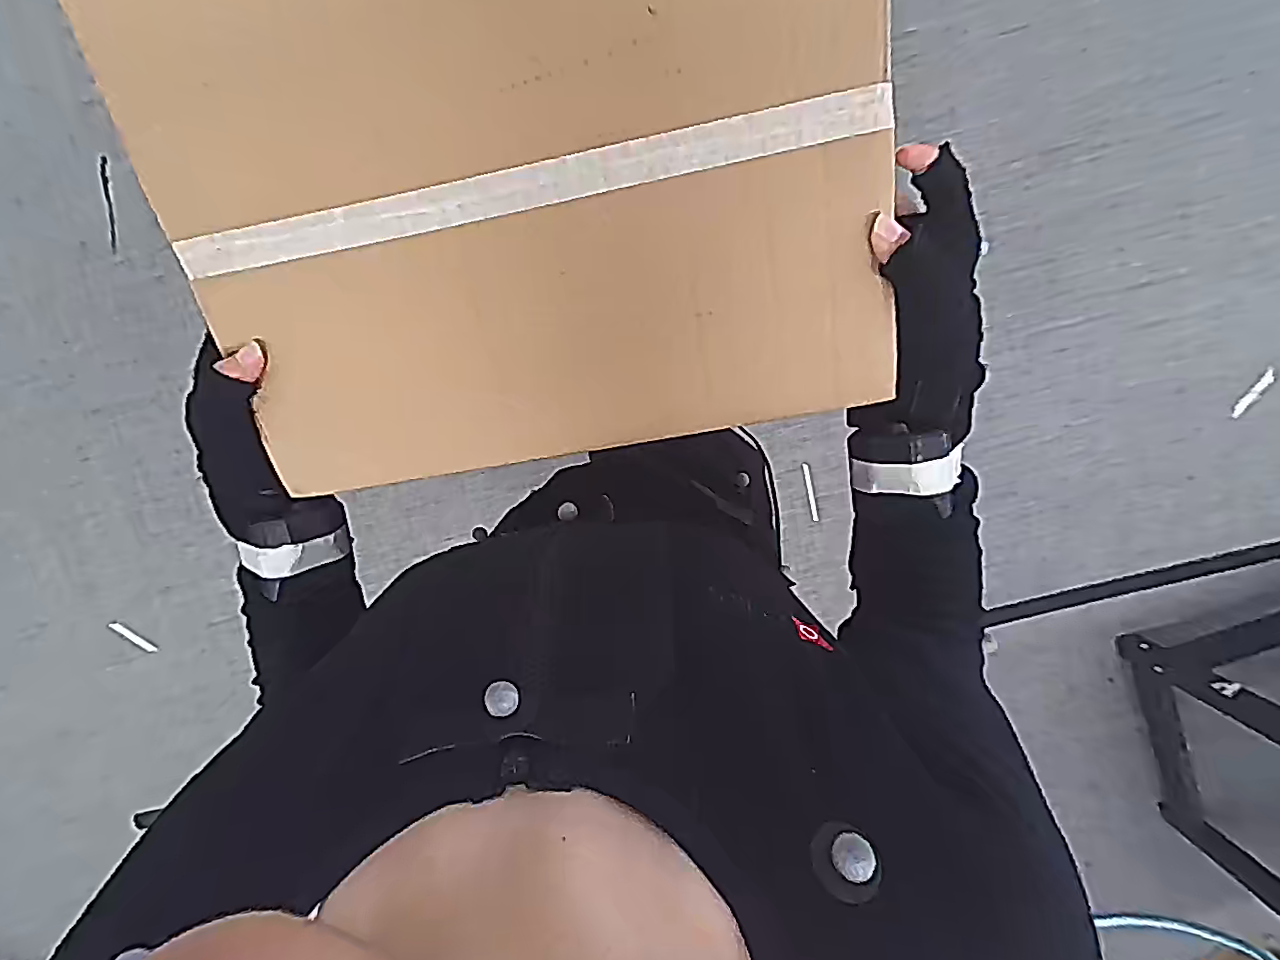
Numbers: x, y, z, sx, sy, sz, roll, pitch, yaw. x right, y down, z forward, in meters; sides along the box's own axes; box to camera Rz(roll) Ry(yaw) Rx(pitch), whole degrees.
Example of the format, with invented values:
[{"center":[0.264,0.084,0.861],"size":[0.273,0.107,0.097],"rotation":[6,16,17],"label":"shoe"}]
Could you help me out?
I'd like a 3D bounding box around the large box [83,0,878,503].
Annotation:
[{"center":[-0.064,-0.211,0.450],"size":[0.408,0.320,0.320],"rotation":[-9,110,6],"label":"large box"}]
